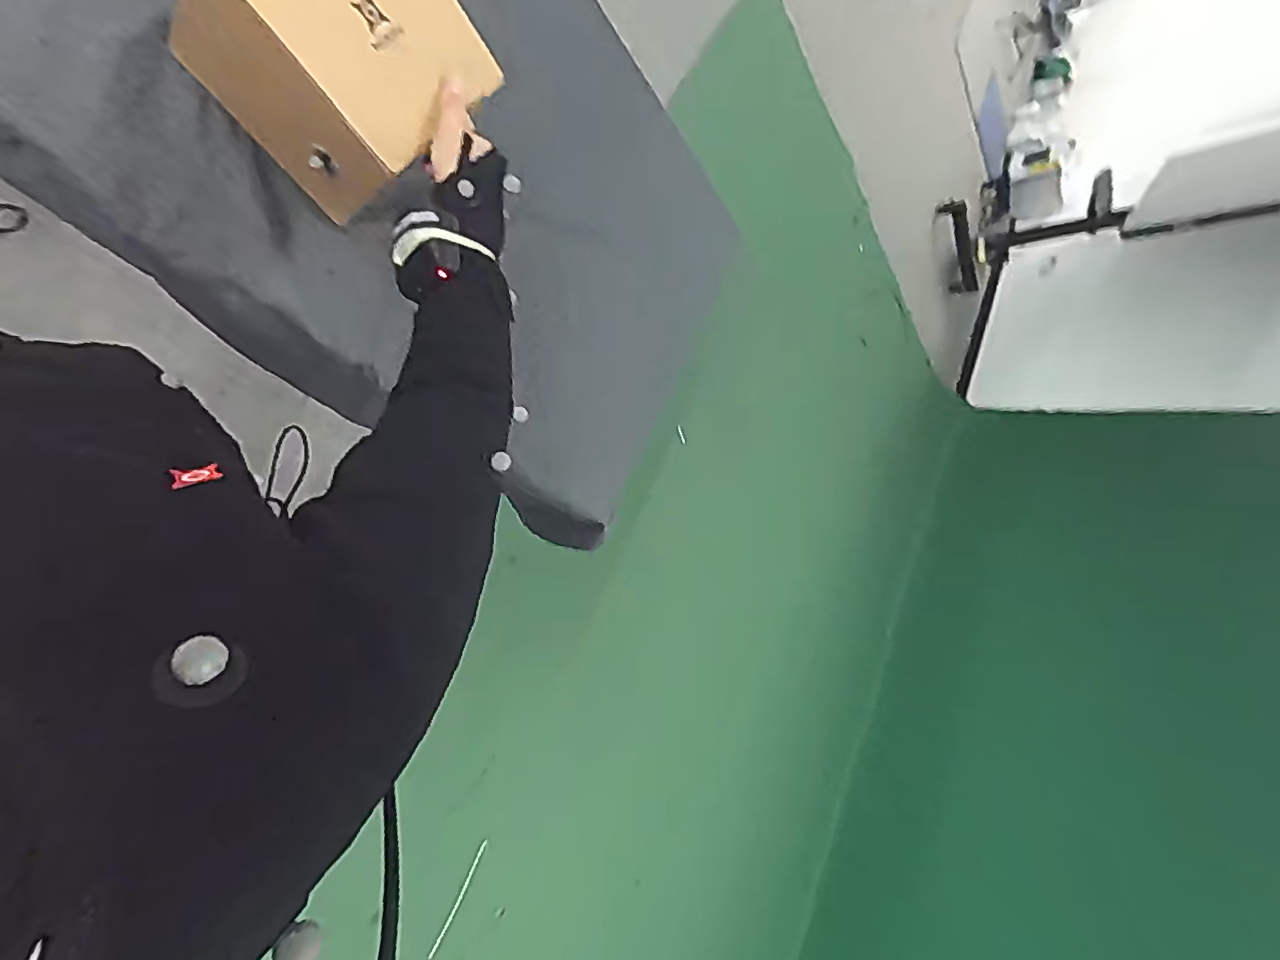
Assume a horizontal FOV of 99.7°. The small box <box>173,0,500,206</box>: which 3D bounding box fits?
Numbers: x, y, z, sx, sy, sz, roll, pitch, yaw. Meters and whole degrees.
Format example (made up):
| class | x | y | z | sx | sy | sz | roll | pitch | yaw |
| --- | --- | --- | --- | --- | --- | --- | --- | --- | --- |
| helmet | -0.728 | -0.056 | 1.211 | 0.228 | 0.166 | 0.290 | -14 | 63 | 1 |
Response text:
| class | x | y | z | sx | sy | sz | roll | pitch | yaw |
| --- | --- | --- | --- | --- | --- | --- | --- | --- | --- |
| small box | -0.271 | -0.379 | 0.491 | 0.179 | 0.176 | 0.168 | 49 | 62 | -36 |
